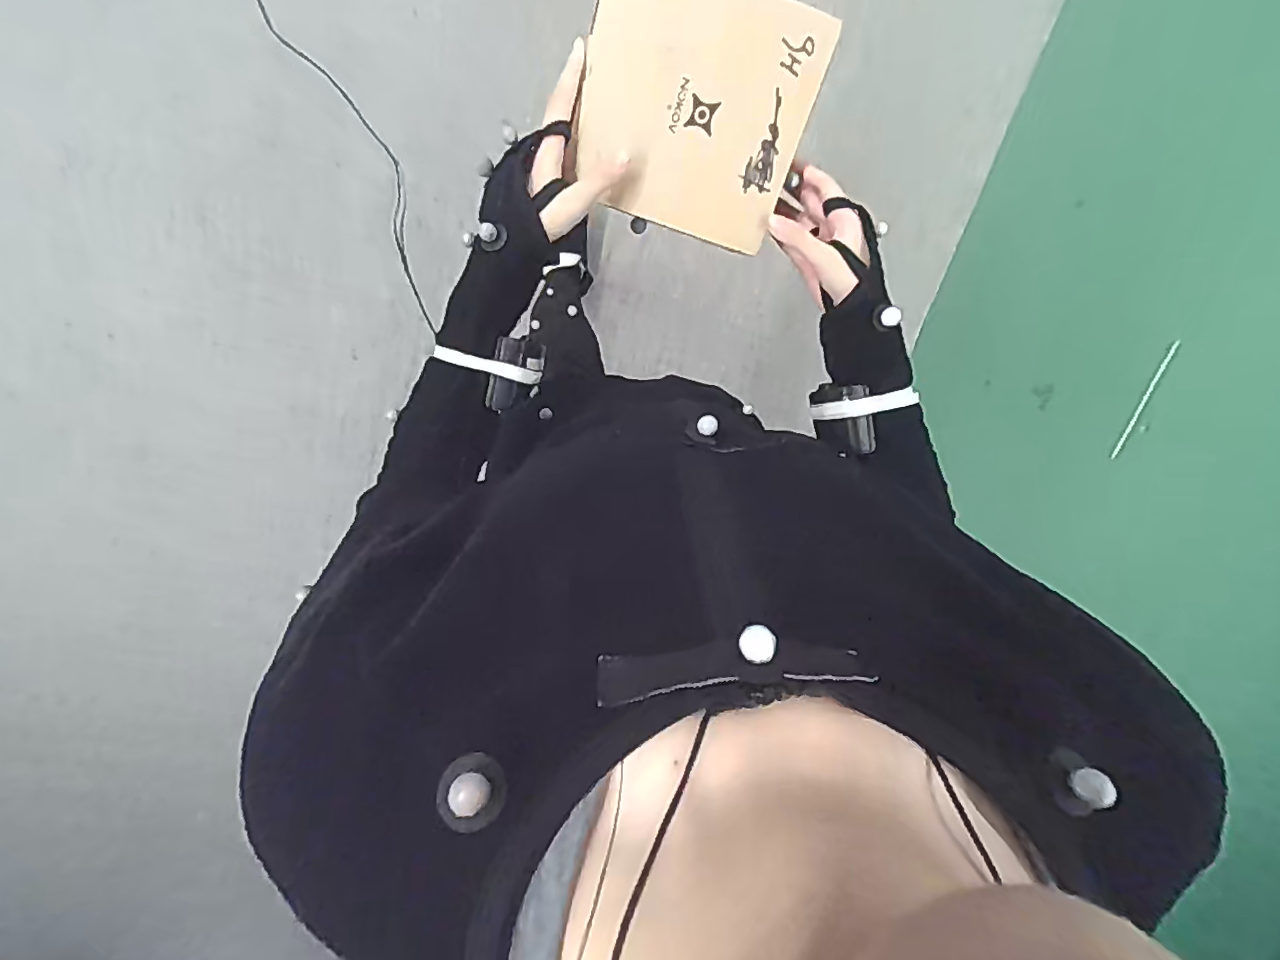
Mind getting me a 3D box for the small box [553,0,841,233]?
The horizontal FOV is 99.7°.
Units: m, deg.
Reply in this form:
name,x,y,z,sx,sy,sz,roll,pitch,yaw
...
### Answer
name,x,y,z,sx,sy,sz,roll,pitch,yaw
small box,0.039,-0.329,0.477,0.179,0.176,0.168,16,115,-6
